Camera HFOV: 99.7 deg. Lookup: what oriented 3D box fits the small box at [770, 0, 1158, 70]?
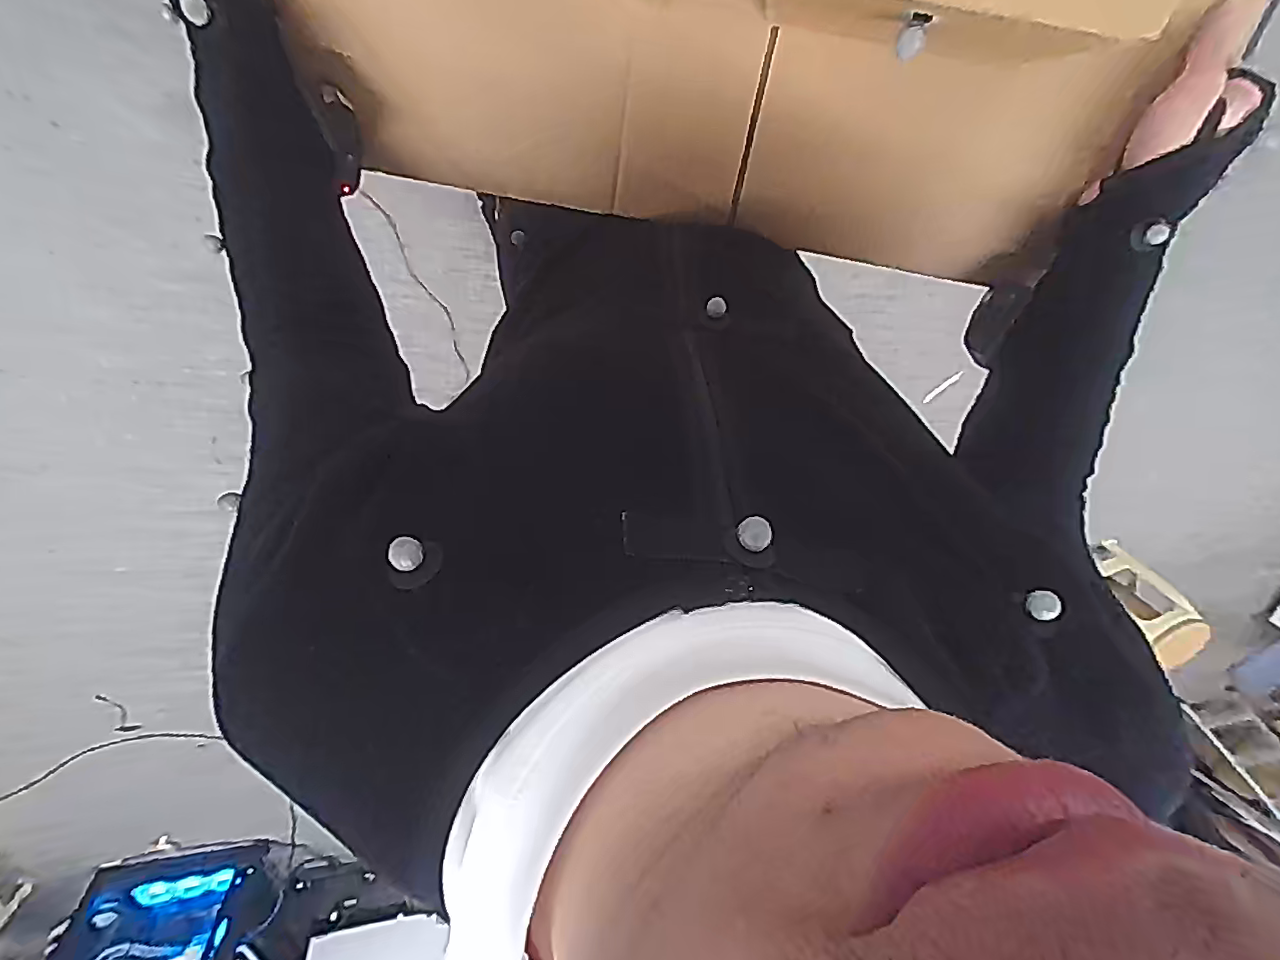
[{"bbox_3d":[0.176,-0.330,0.280,0.179,0.176,0.168,14,125,4],"label":"small box"}]
